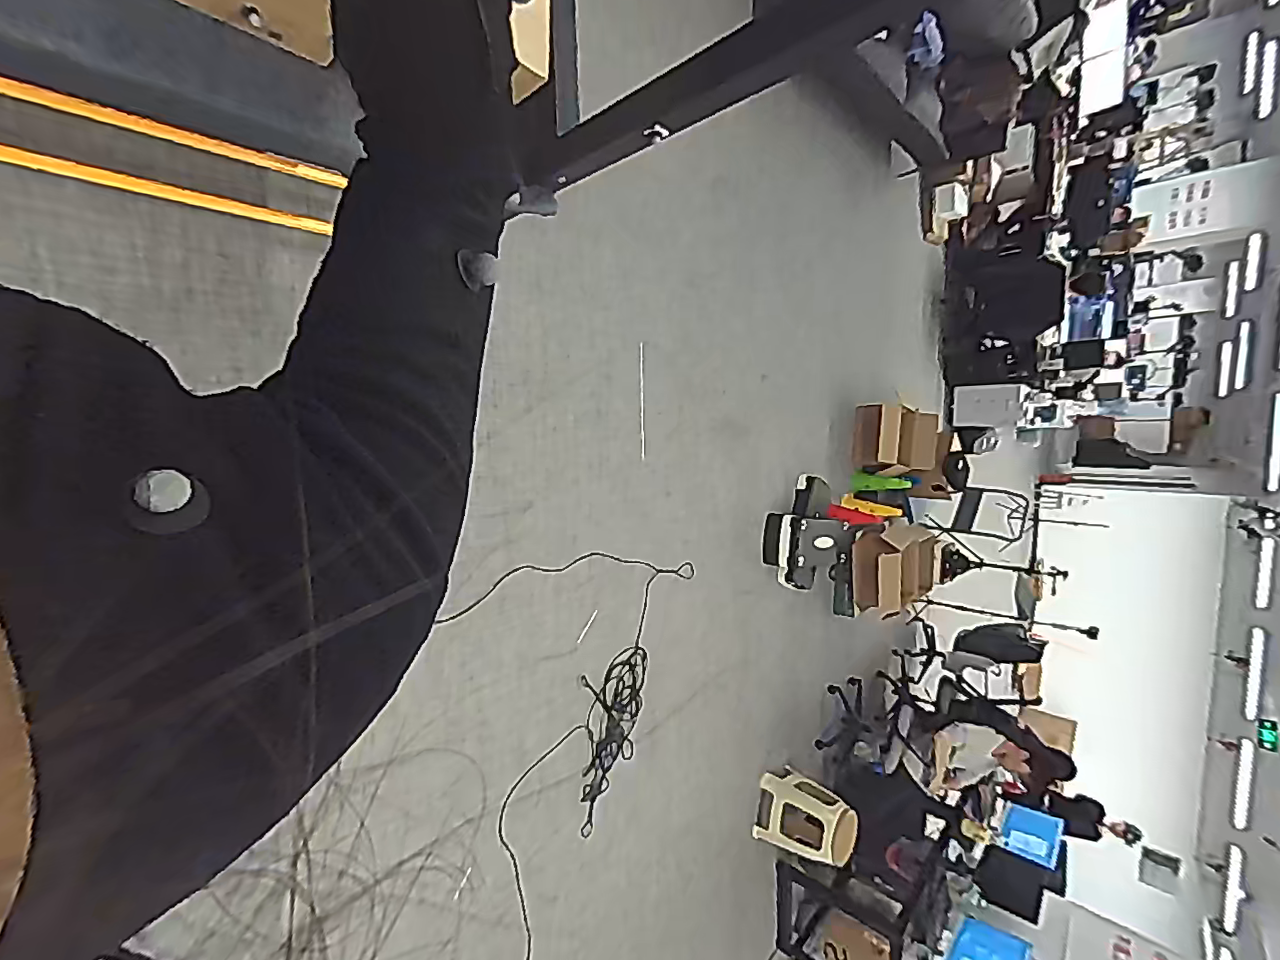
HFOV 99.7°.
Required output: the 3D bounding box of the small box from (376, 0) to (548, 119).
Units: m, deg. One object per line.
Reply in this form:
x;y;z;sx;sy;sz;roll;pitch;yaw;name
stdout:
-0.242;-0.638;0.734;0.168;0.176;0.179;-2;94;-47;small box
